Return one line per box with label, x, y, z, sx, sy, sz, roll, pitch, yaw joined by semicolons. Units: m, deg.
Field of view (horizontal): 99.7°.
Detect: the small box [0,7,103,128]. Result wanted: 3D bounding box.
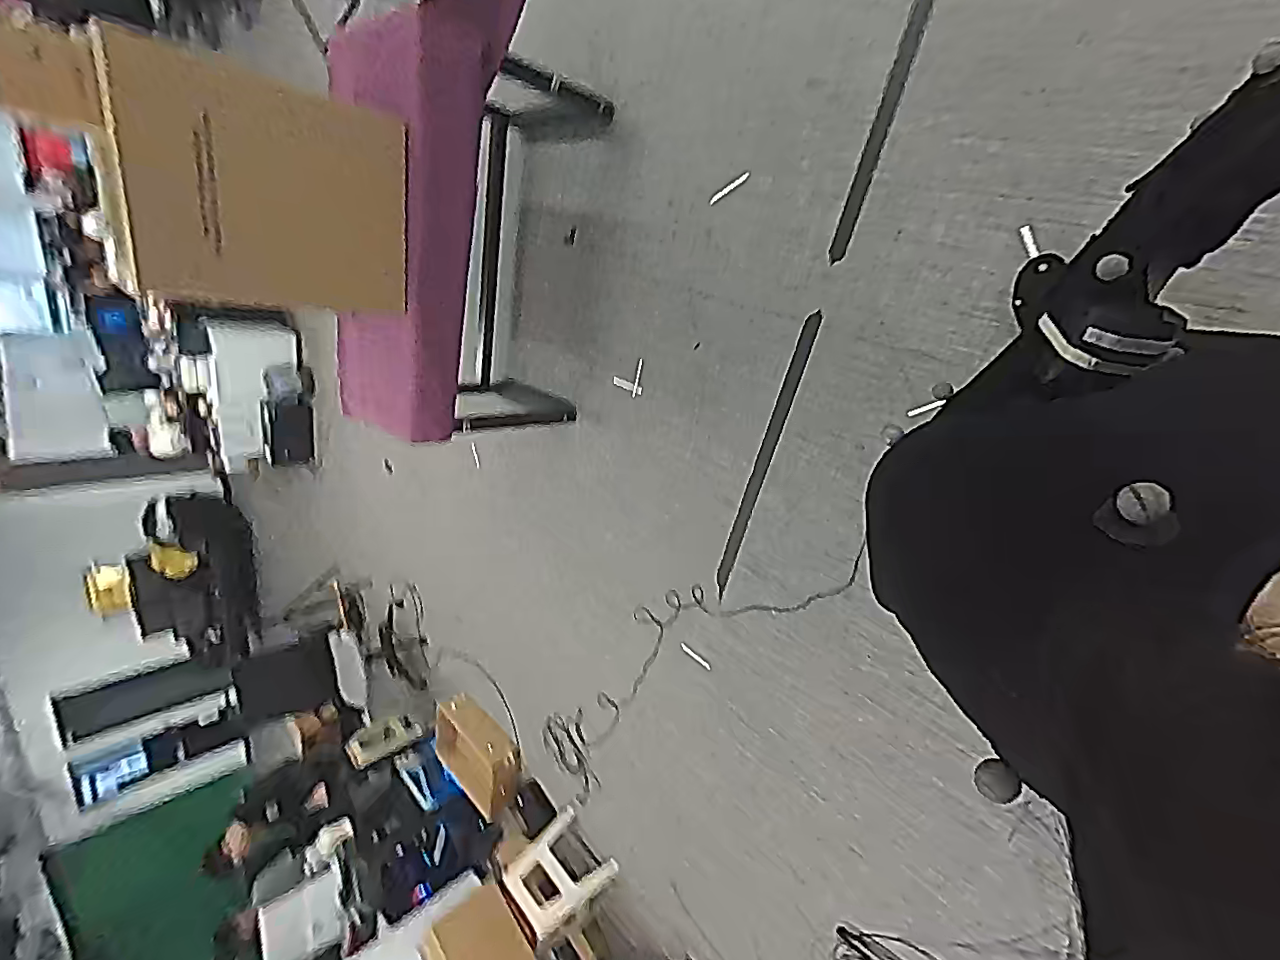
small box;-1.254;-0.855;1.126;0.179;0.176;0.168;24;114;38
